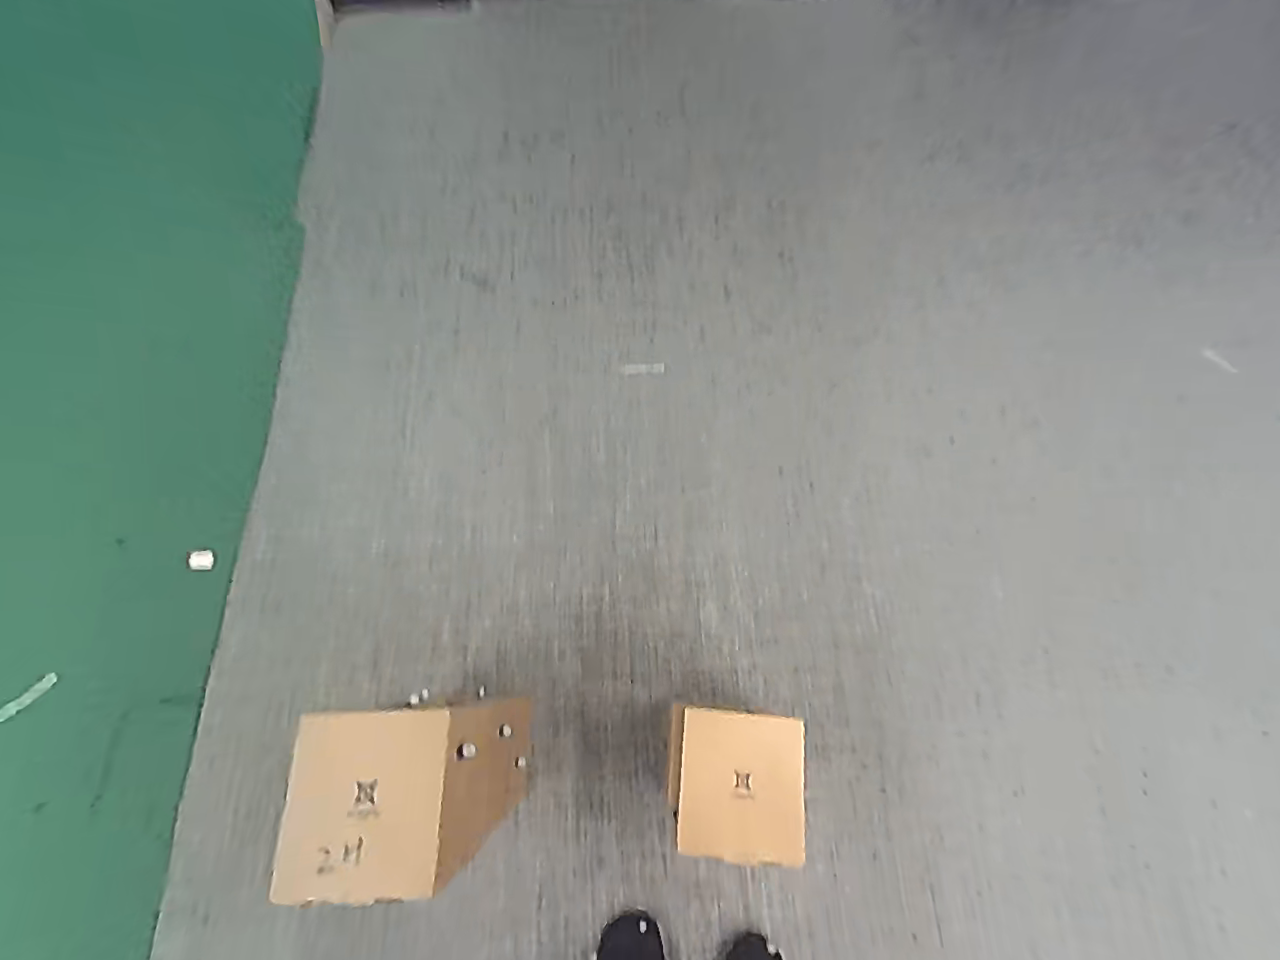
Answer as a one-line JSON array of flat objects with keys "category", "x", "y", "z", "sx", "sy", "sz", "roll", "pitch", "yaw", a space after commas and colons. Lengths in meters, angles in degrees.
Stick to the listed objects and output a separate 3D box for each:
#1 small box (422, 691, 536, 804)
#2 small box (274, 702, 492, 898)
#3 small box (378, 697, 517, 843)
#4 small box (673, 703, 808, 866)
[{"category": "small box", "x": -0.283, "y": 0.469, "z": 0.944, "sx": 0.168, "sy": 0.176, "sz": 0.179, "roll": 1, "pitch": 70, "yaw": 1}, {"category": "small box", "x": -0.280, "y": 0.358, "z": 0.636, "sx": 0.168, "sy": 0.176, "sz": 0.179, "roll": -2, "pitch": 69, "yaw": 1}, {"category": "small box", "x": -0.281, "y": 0.413, "z": 0.792, "sx": 0.168, "sy": 0.176, "sz": 0.179, "roll": -2, "pitch": 70, "yaw": 1}, {"category": "small box", "x": 0.138, "y": 0.424, "z": 0.784, "sx": 0.168, "sy": 0.176, "sz": 0.179, "roll": 4, "pitch": 70, "yaw": 2}]
